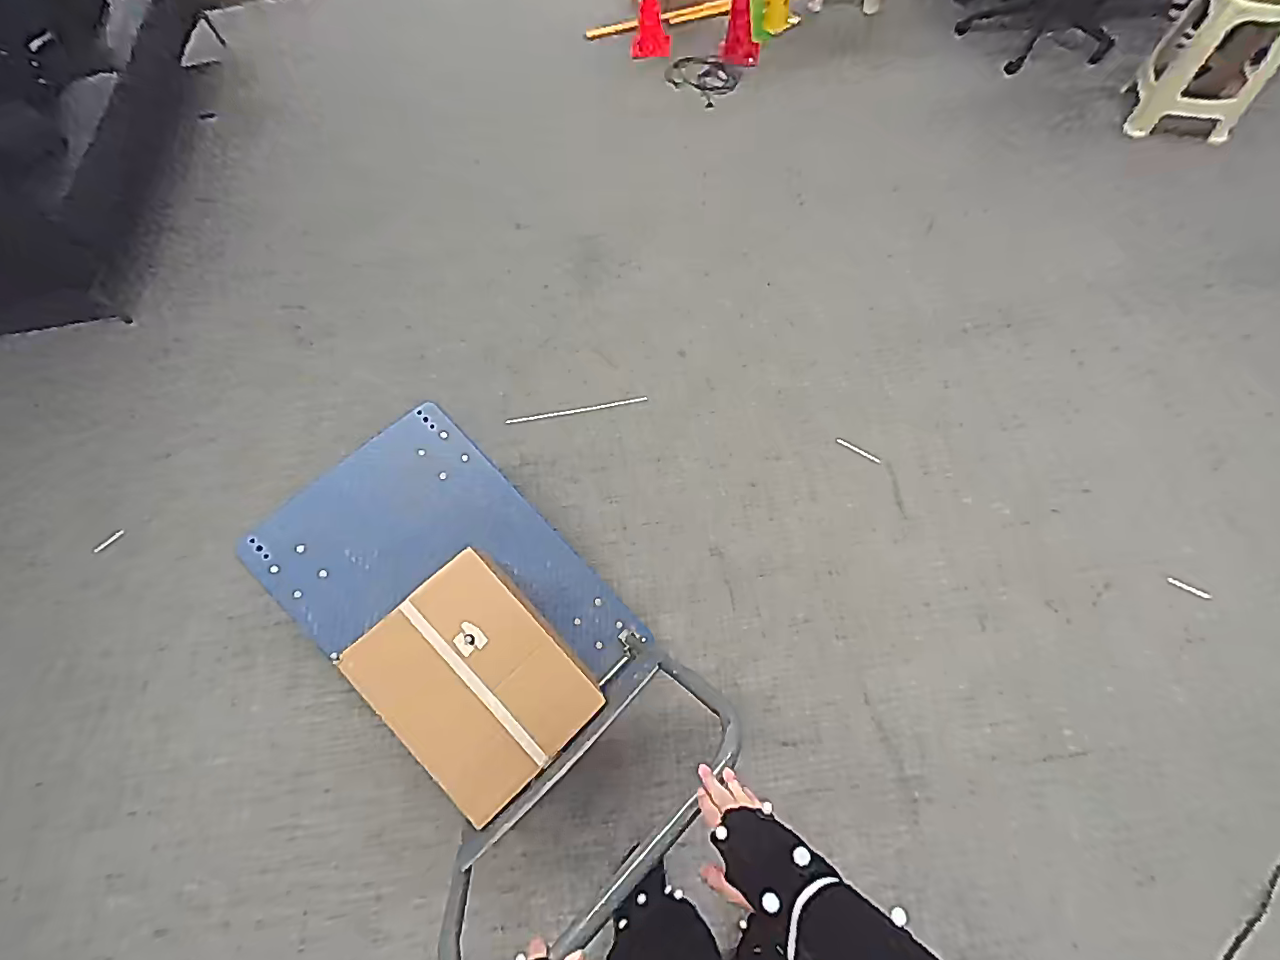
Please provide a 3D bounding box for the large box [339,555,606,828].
[{"bbox_3d":[-0.326,0.417,1.154,0.320,0.320,0.408,-43,87,-16],"label":"large box"}]
